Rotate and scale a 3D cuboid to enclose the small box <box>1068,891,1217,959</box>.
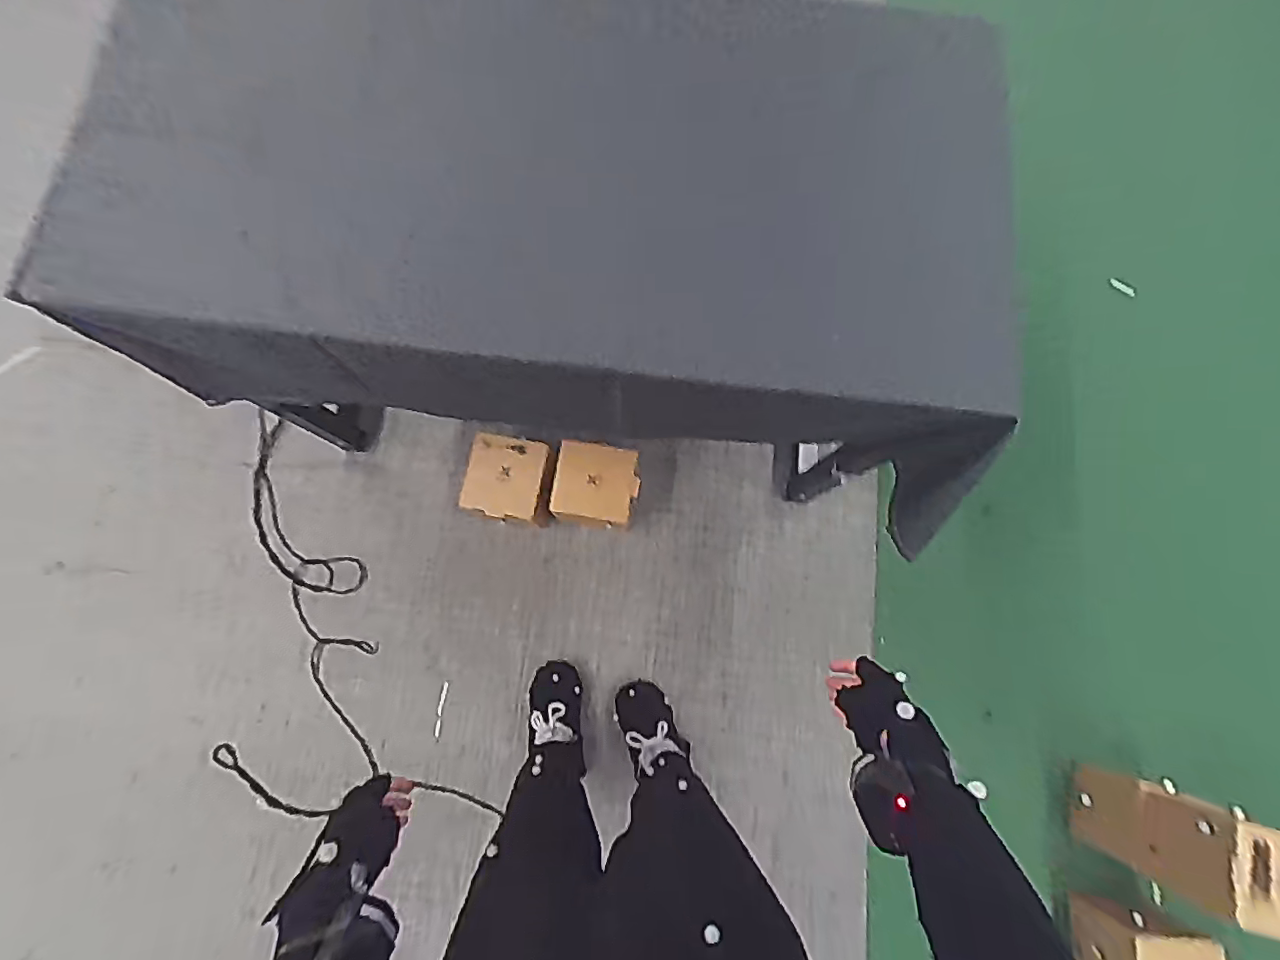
[{"bbox_3d":[1.021,0.982,1.110,0.179,0.176,0.168,5,79,-2],"label":"small box"}]

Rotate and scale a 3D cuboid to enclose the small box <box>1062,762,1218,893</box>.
[{"bbox_3d":[1.069,0.734,1.165,0.179,0.176,0.168,17,77,2],"label":"small box"}]
